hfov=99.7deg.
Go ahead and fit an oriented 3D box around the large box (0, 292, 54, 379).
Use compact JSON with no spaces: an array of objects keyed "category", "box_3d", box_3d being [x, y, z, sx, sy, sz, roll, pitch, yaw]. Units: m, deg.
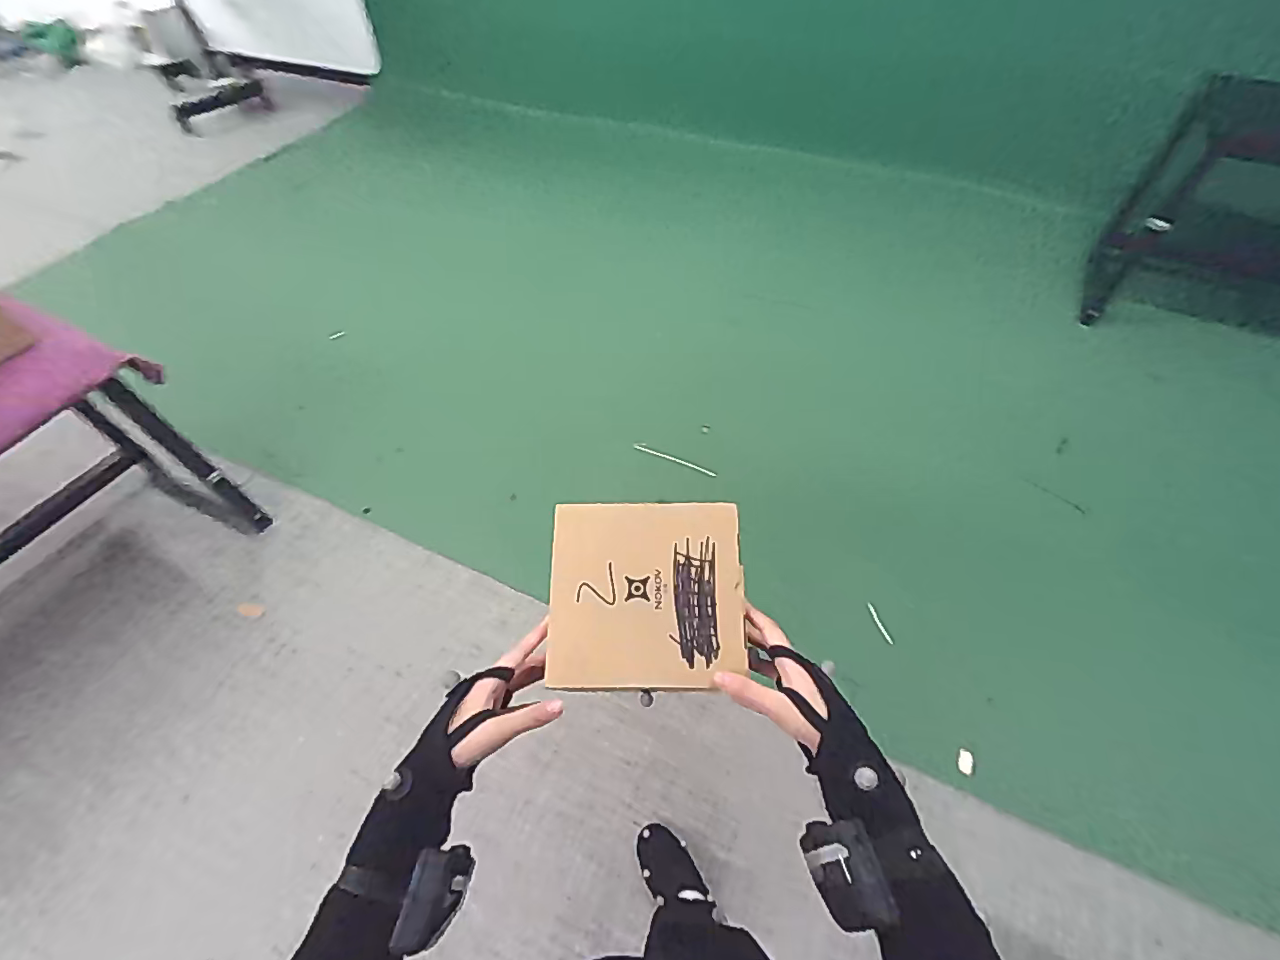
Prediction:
[{"category":"large box","box_3d":[-1.571,-0.357,1.083,0.408,0.320,0.320,21,59,15]}]
